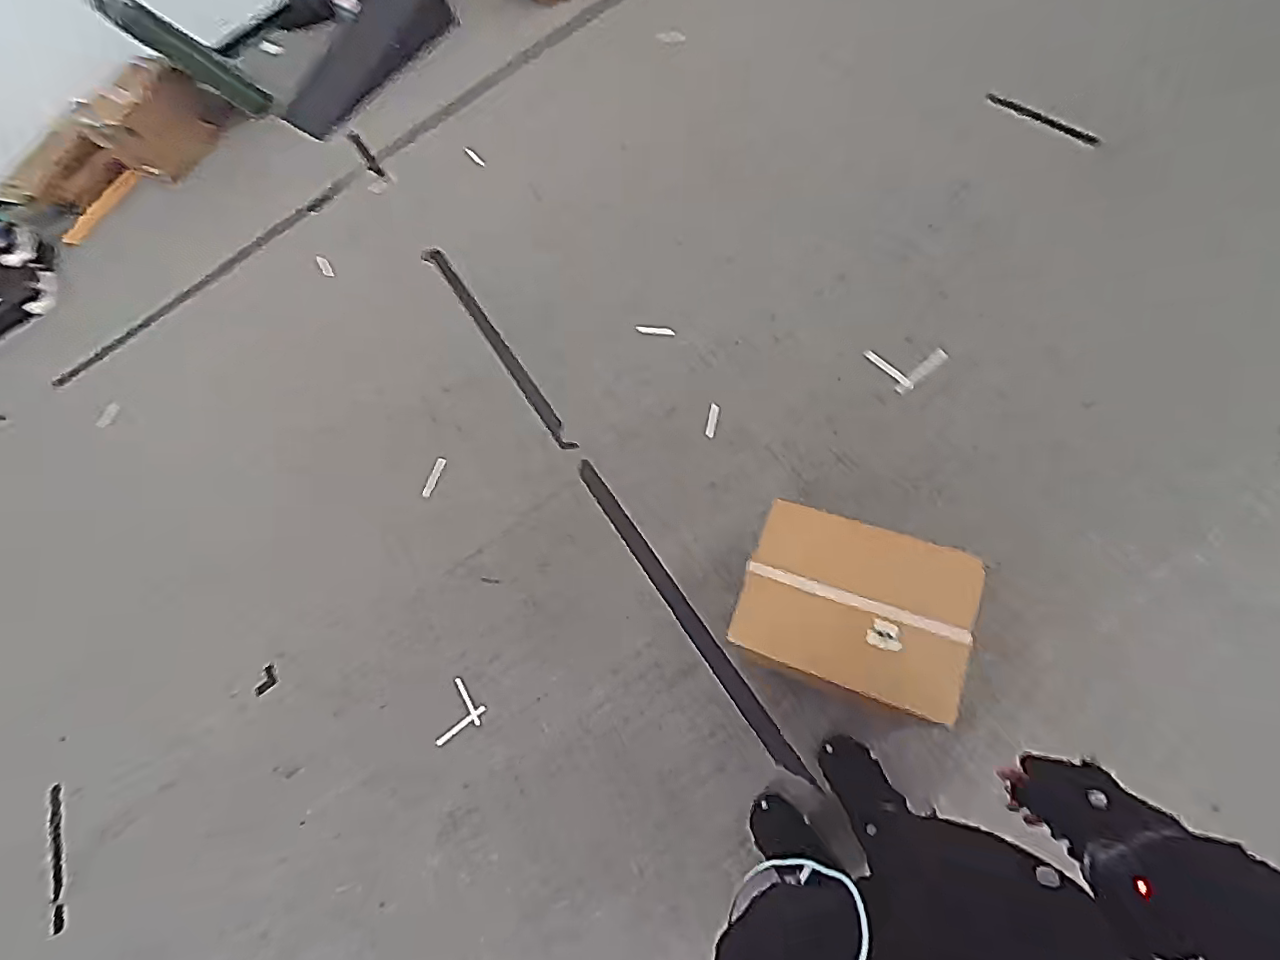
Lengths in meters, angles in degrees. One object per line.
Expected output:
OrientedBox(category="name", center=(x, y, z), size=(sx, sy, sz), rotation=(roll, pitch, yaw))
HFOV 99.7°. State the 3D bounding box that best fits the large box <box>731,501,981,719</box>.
OrientedBox(category="large box", center=(0.439, 0.284, 1.168), size=(0.408, 0.320, 0.320), rotation=(17, 72, 20))
